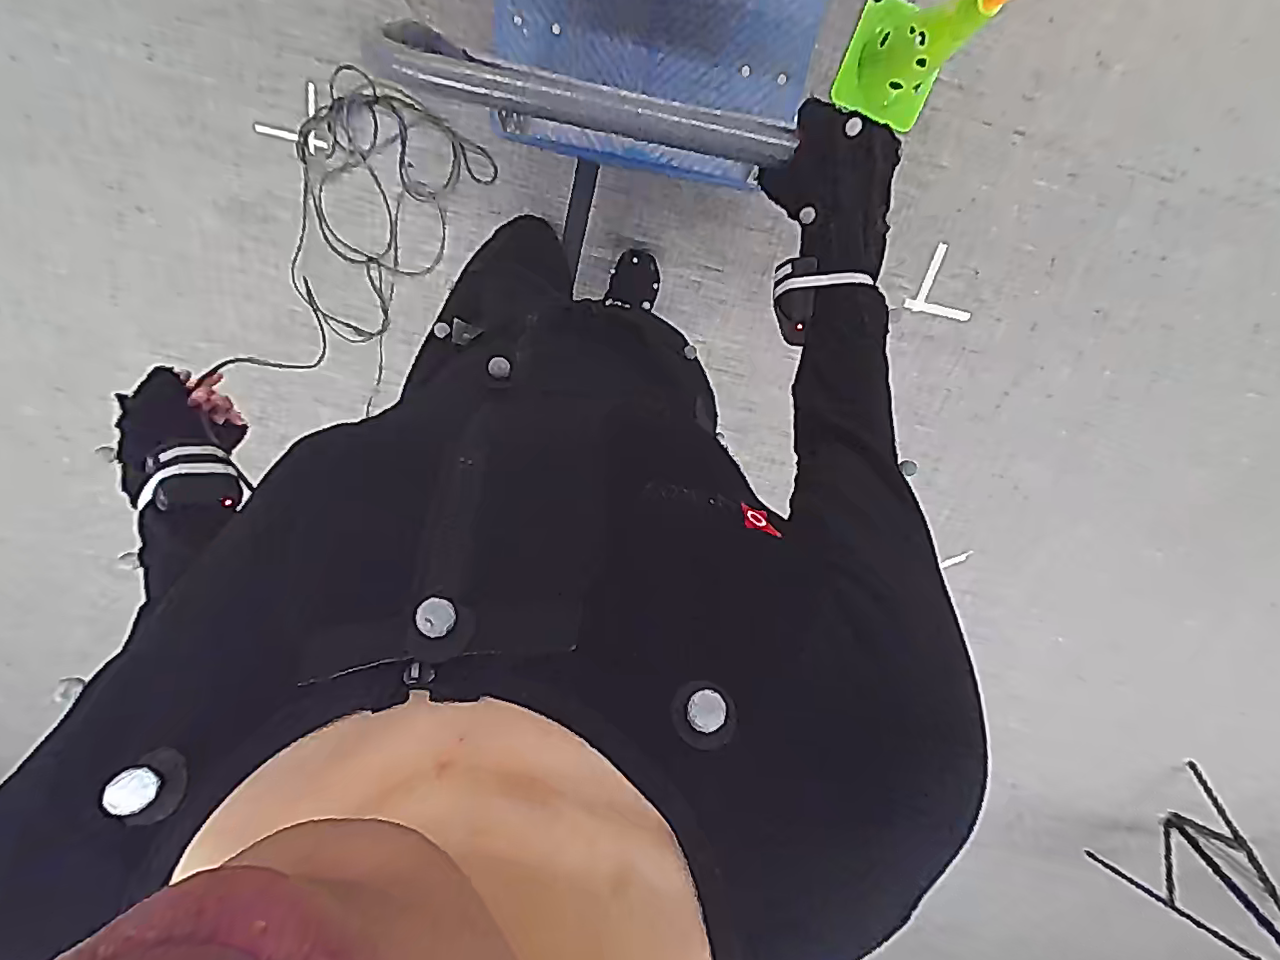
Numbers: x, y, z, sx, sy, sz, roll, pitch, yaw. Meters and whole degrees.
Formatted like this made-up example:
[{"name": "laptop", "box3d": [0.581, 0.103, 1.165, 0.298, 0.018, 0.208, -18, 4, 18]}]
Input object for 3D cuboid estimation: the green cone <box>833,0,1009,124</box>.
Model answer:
[{"name": "green cone", "box3d": [0.531, -0.809, 0.974, 0.202, 0.368, 0.200, 16, 115, -9]}]
